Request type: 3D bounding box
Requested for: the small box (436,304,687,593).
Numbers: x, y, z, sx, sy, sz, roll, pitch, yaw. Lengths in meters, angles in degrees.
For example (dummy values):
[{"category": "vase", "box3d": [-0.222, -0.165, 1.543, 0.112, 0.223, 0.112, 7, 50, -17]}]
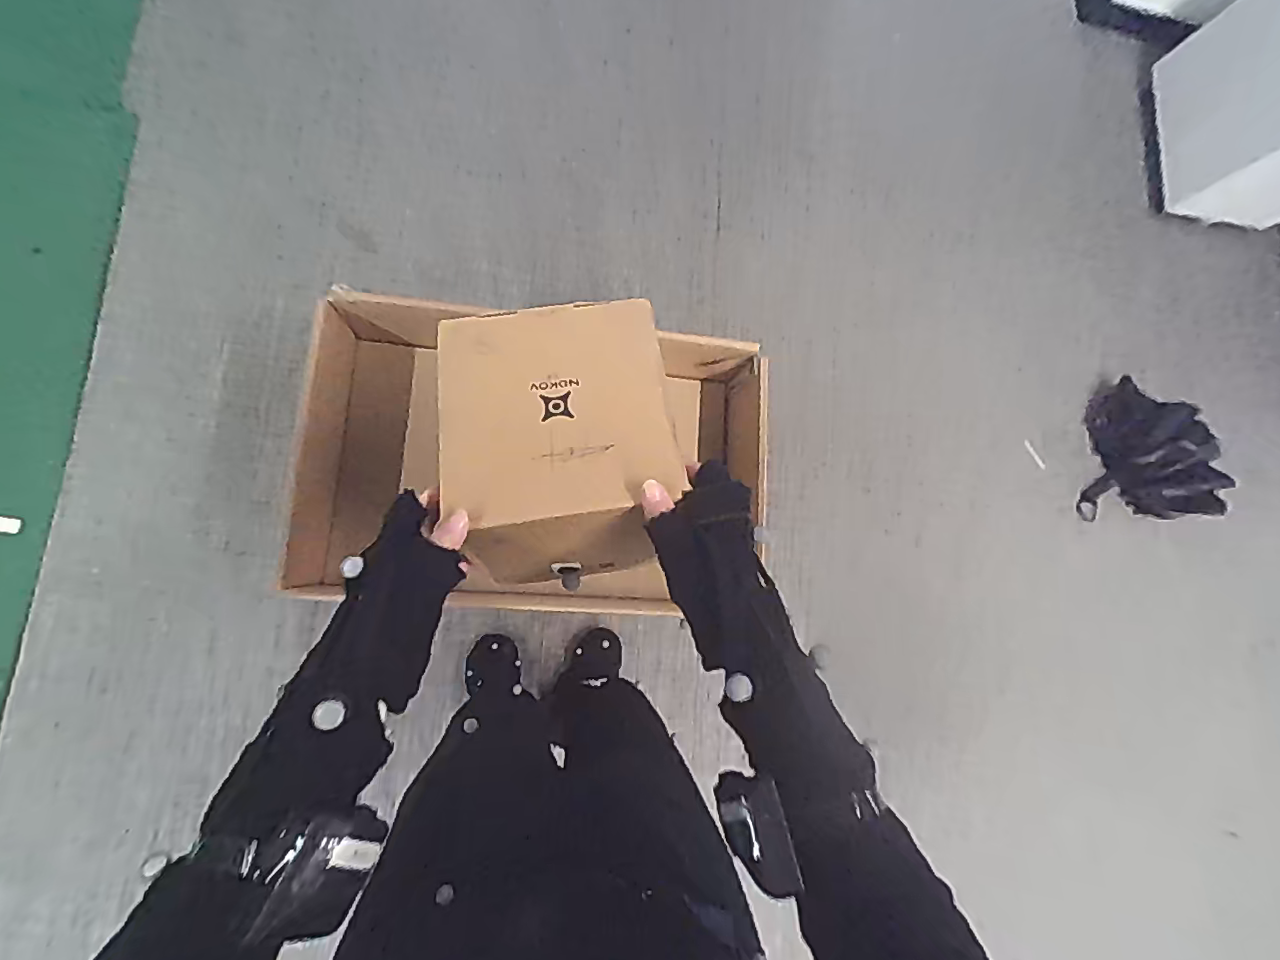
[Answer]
[{"category": "small box", "box3d": [-0.064, -0.017, 0.458, 0.168, 0.176, 0.179, -9, 67, -5]}]
